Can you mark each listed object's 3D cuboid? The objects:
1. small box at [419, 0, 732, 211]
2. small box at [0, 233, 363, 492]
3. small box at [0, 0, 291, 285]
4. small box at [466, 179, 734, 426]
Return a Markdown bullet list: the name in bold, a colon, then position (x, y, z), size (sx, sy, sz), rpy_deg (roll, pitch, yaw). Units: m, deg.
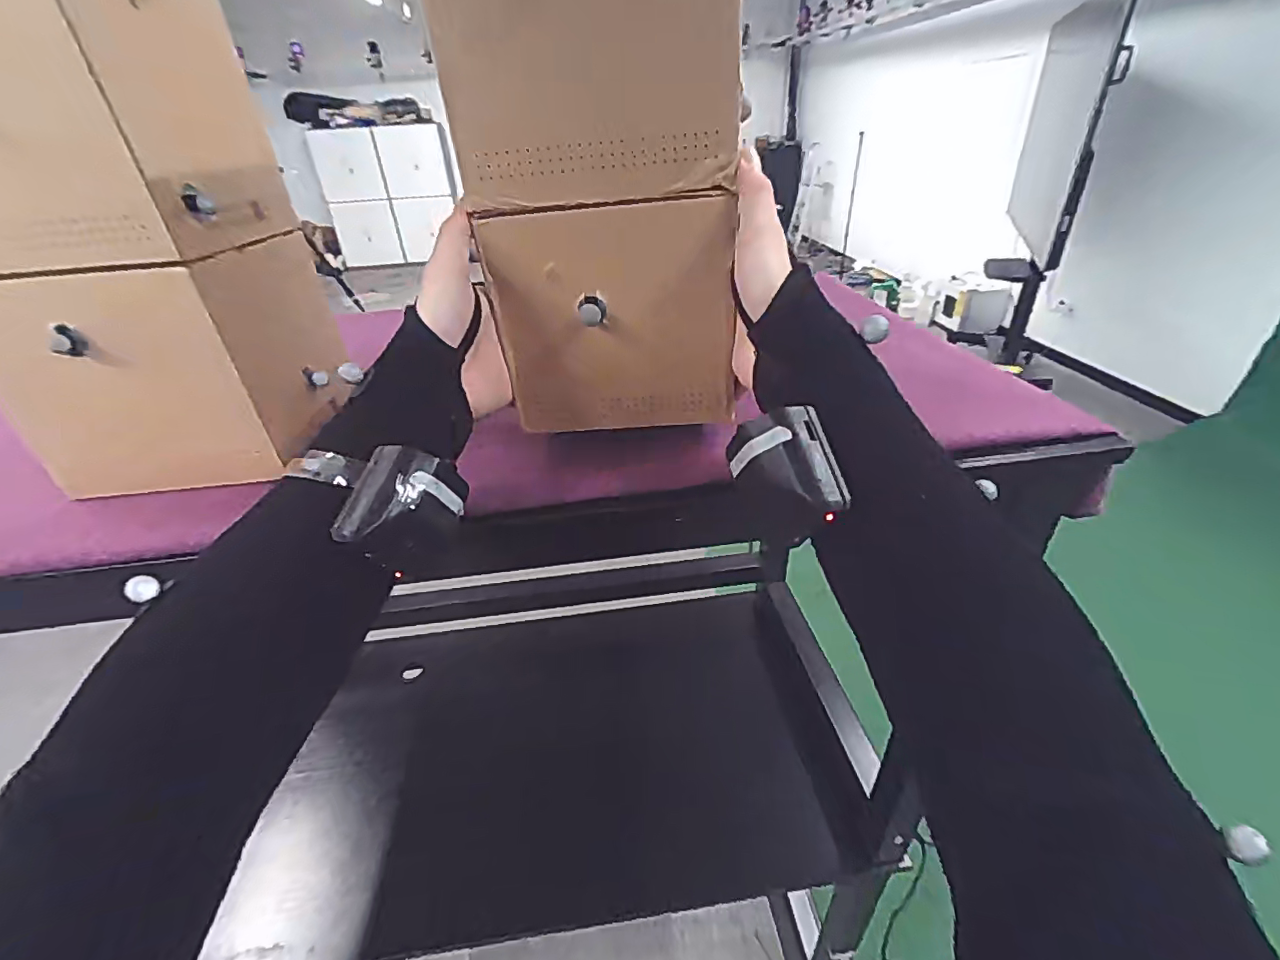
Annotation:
- **small box**: position (-0.035, -0.288, 0.361), size (0.179, 0.176, 0.168), rpy_deg (-4, 37, 4)
- **small box**: position (-0.377, -0.102, 0.464), size (0.179, 0.176, 0.168), rpy_deg (-6, 33, -1)
- **small box**: position (-0.389, -0.240, 0.374), size (0.179, 0.176, 0.168), rpy_deg (-7, 33, -1)
- **small box**: position (-0.017, -0.157, 0.457), size (0.179, 0.176, 0.168), rpy_deg (-4, 37, 5)
